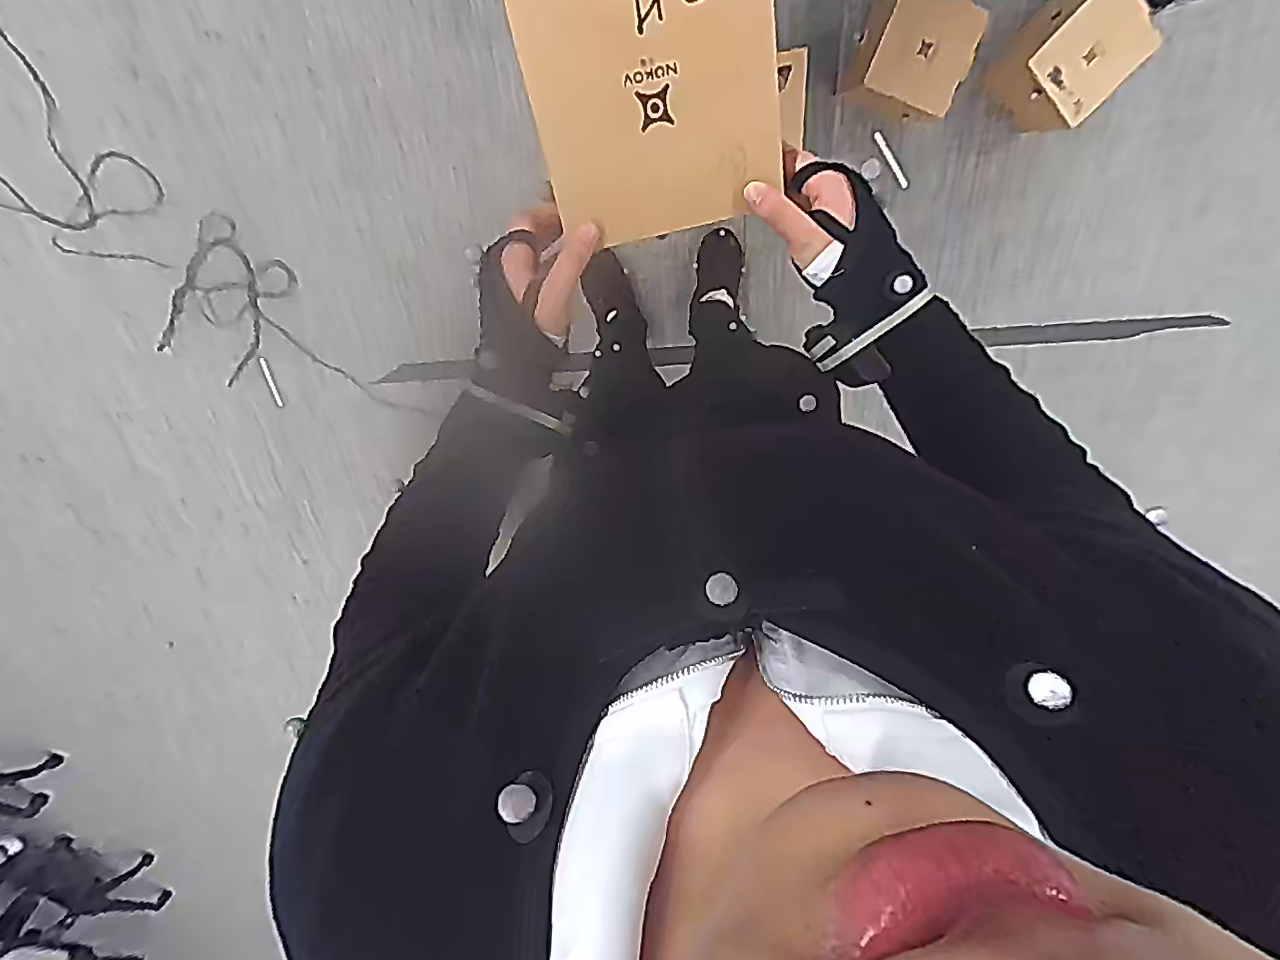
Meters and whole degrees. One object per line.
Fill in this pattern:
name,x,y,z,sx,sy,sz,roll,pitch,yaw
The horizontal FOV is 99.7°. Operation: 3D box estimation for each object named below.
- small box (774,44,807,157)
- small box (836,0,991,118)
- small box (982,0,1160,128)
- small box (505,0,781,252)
small box,0.226,-0.746,1.087,0.168,0.176,0.179,-4,121,3
small box,0.514,-0.823,1.045,0.179,0.176,0.168,15,118,-8
small box,0.817,-0.821,1.043,0.168,0.176,0.179,36,114,-18
small box,0.005,-0.301,0.426,0.168,0.176,0.179,-12,121,4
